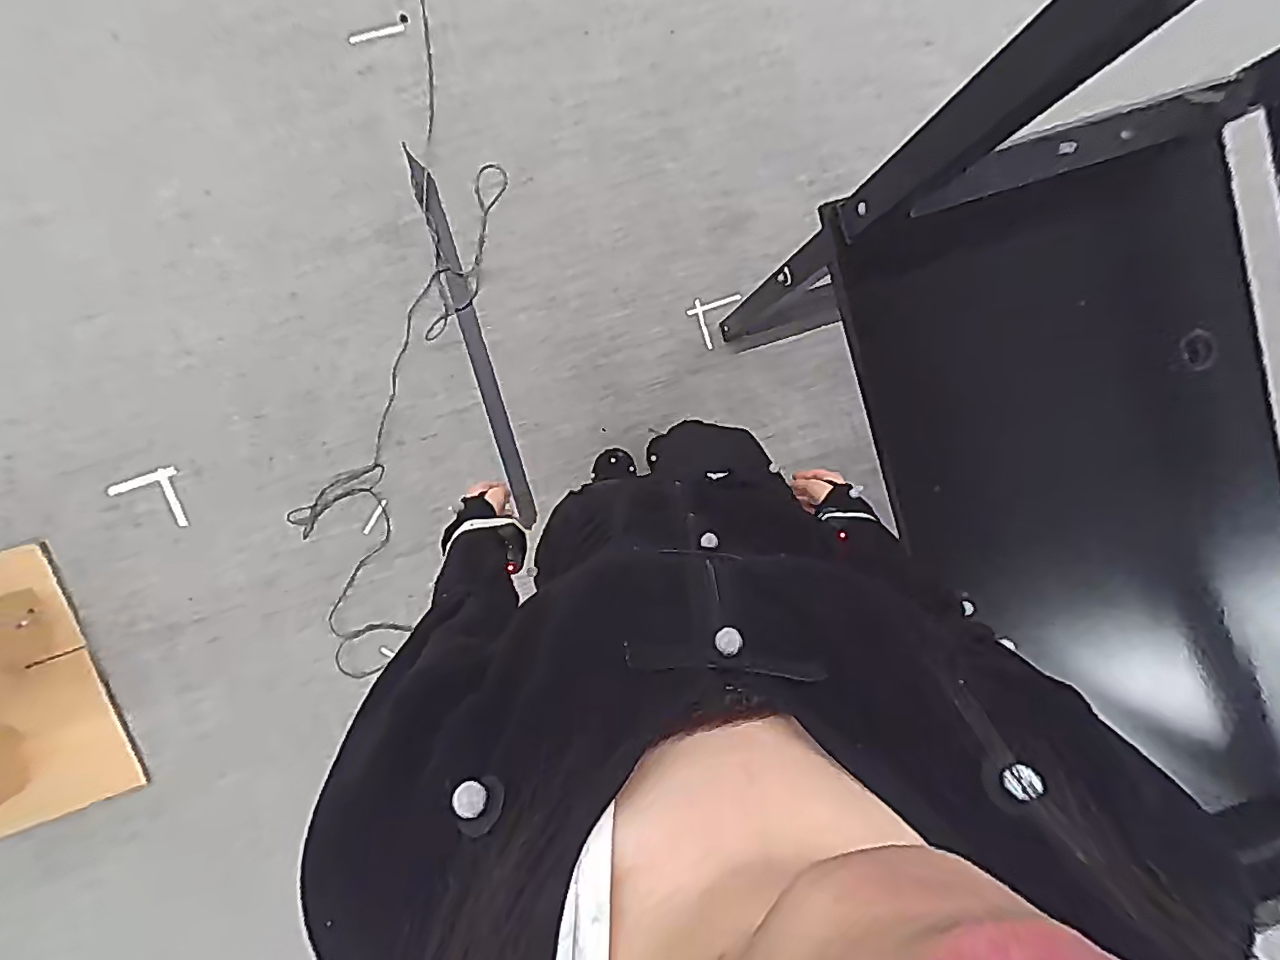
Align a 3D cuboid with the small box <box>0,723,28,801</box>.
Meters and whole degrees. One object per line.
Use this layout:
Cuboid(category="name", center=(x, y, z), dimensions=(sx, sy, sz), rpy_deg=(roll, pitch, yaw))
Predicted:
Cuboid(category="small box", center=(-1.679, 0.732, 1.322), dimensions=(0.168, 0.176, 0.179), rpy_deg=(-9, 97, -4))
